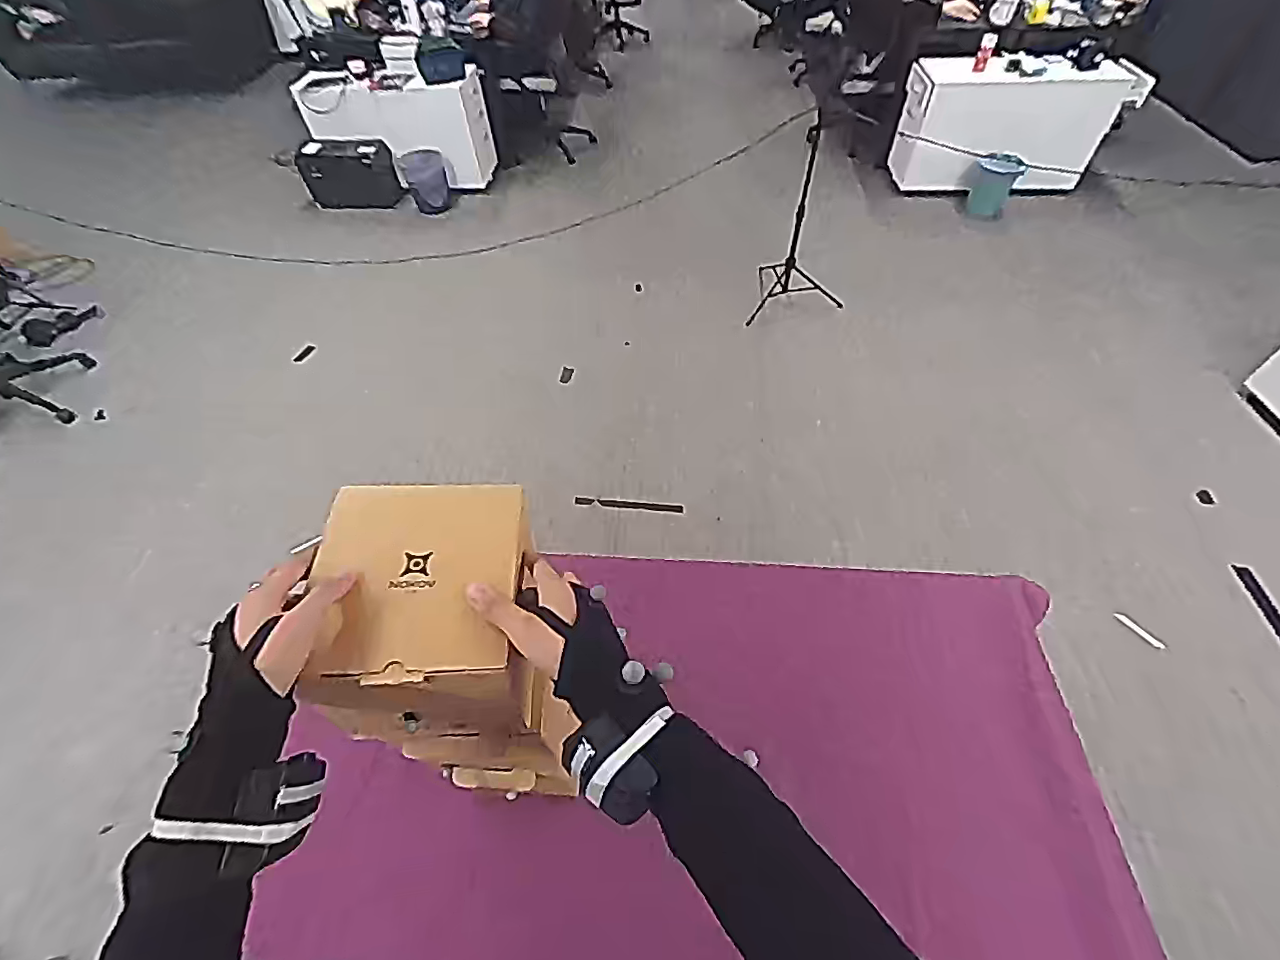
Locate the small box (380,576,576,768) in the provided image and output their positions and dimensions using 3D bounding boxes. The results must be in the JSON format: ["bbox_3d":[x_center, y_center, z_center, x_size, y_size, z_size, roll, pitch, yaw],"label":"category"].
[{"bbox_3d":[-0.171,0.231,0.639,0.168,0.176,0.179,0,51,1],"label":"small box"}]

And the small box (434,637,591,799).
[{"bbox_3d":[-0.165,0.333,0.767,0.168,0.176,0.179,2,52,4],"label":"small box"}]
